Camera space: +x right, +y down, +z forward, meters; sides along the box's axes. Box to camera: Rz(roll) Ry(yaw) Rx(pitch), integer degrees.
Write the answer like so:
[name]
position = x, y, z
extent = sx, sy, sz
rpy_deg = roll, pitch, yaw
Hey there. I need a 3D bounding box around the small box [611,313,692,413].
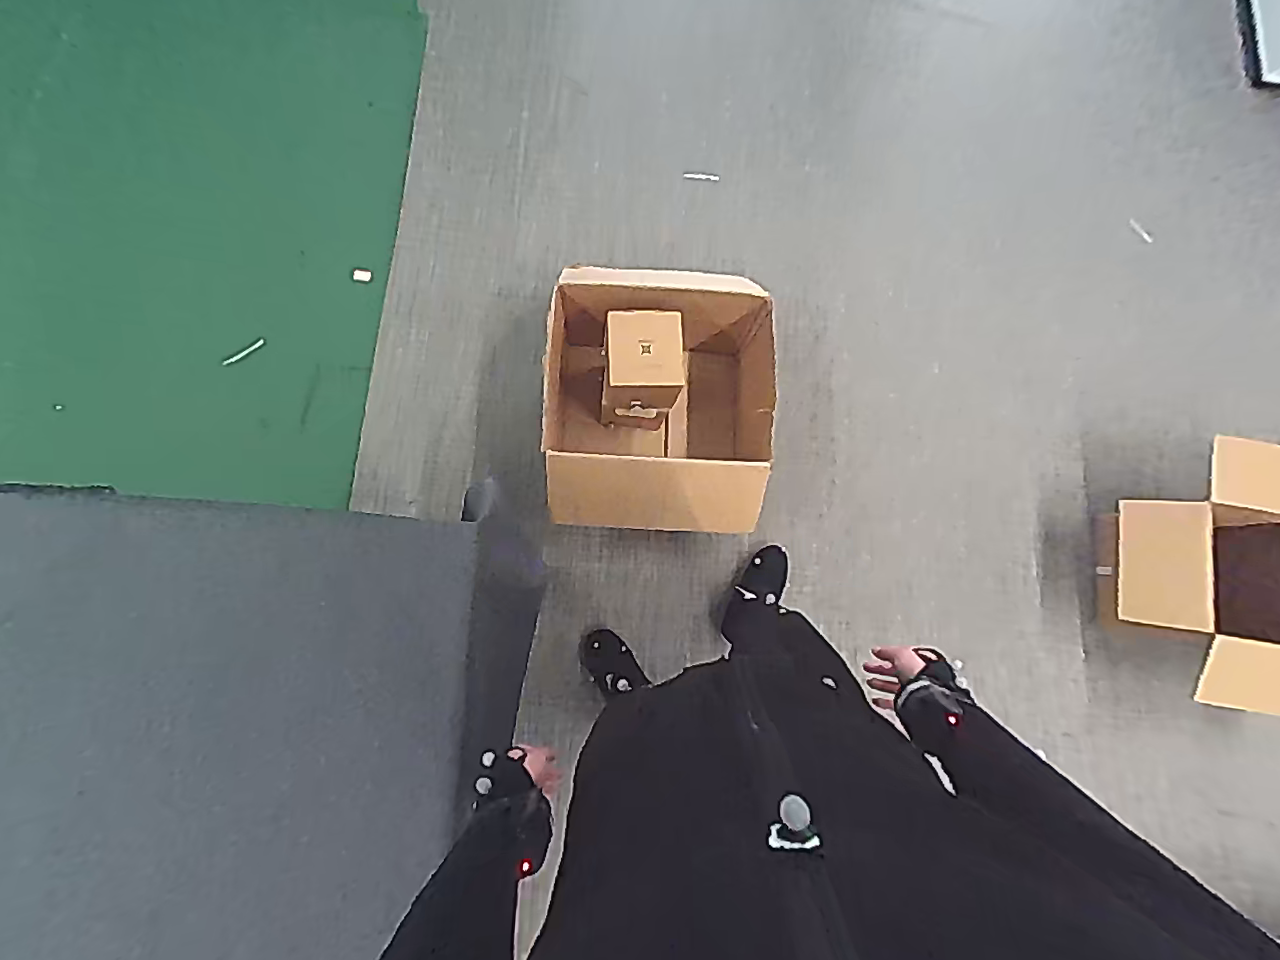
[small box]
position = 0.020, -0.266, 1.250
extent = 0.168, 0.176, 0.179
rpy_deg = -1, 80, -6
